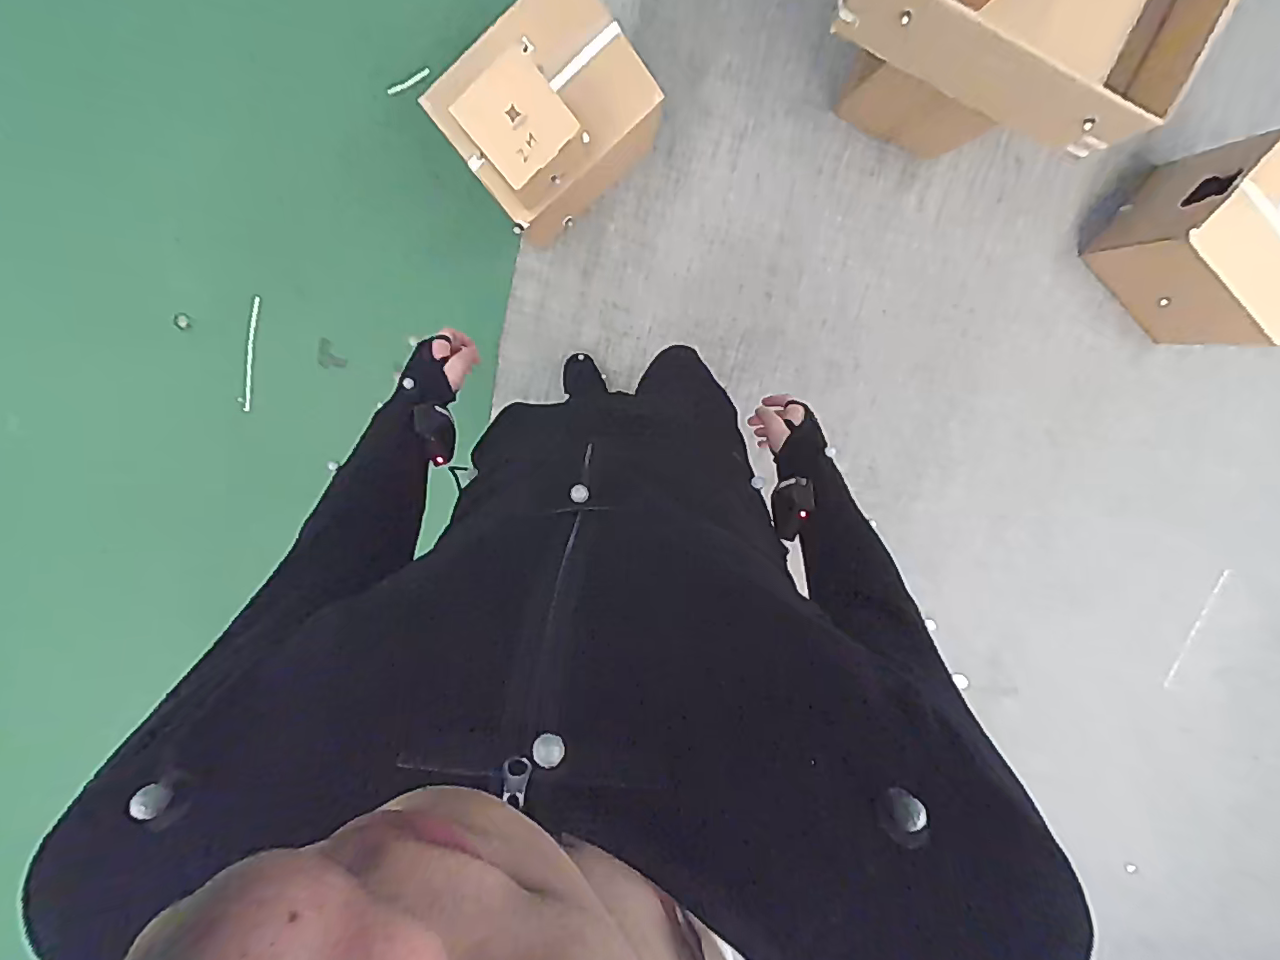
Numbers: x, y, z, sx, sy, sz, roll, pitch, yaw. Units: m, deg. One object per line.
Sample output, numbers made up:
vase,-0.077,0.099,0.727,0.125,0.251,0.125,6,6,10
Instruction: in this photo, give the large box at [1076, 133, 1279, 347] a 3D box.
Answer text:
large box,1.509,-0.597,1.430,0.408,0.320,0.320,37,99,-11

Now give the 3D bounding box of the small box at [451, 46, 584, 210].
small box,-0.223,-0.654,1.033,0.168,0.176,0.179,-41,105,7
